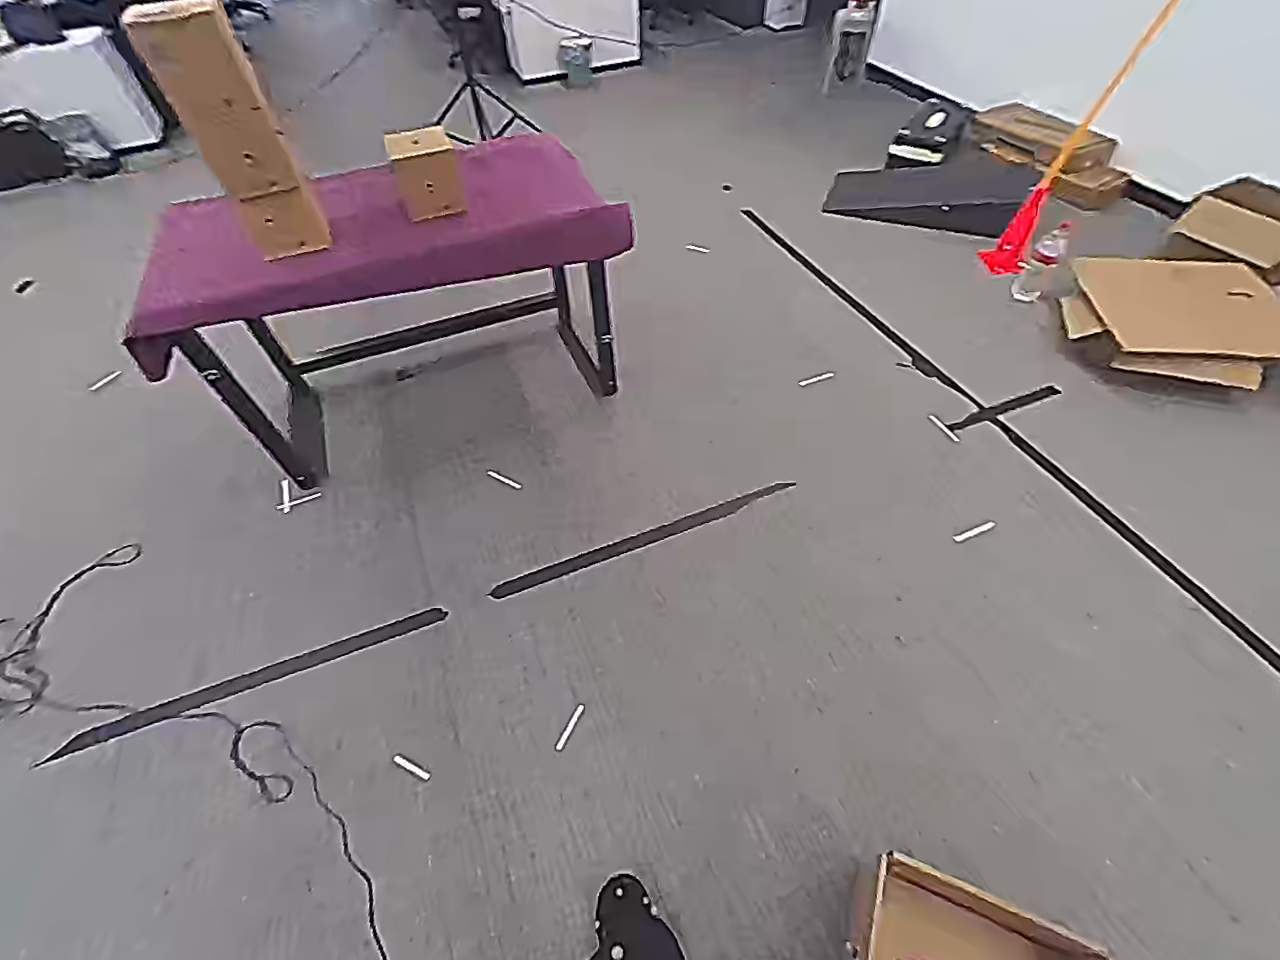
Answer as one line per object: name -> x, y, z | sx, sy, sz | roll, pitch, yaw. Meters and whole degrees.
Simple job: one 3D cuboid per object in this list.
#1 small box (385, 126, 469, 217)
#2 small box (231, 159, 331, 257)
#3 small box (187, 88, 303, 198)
small box -> -0.599, -0.869, 1.535 | 0.168, 0.176, 0.179 | -19, 54, -13
small box -> -0.943, -0.714, 1.433 | 0.168, 0.176, 0.179 | -20, 54, -13
small box -> -0.936, -0.799, 1.292 | 0.168, 0.176, 0.179 | -24, 55, -15
